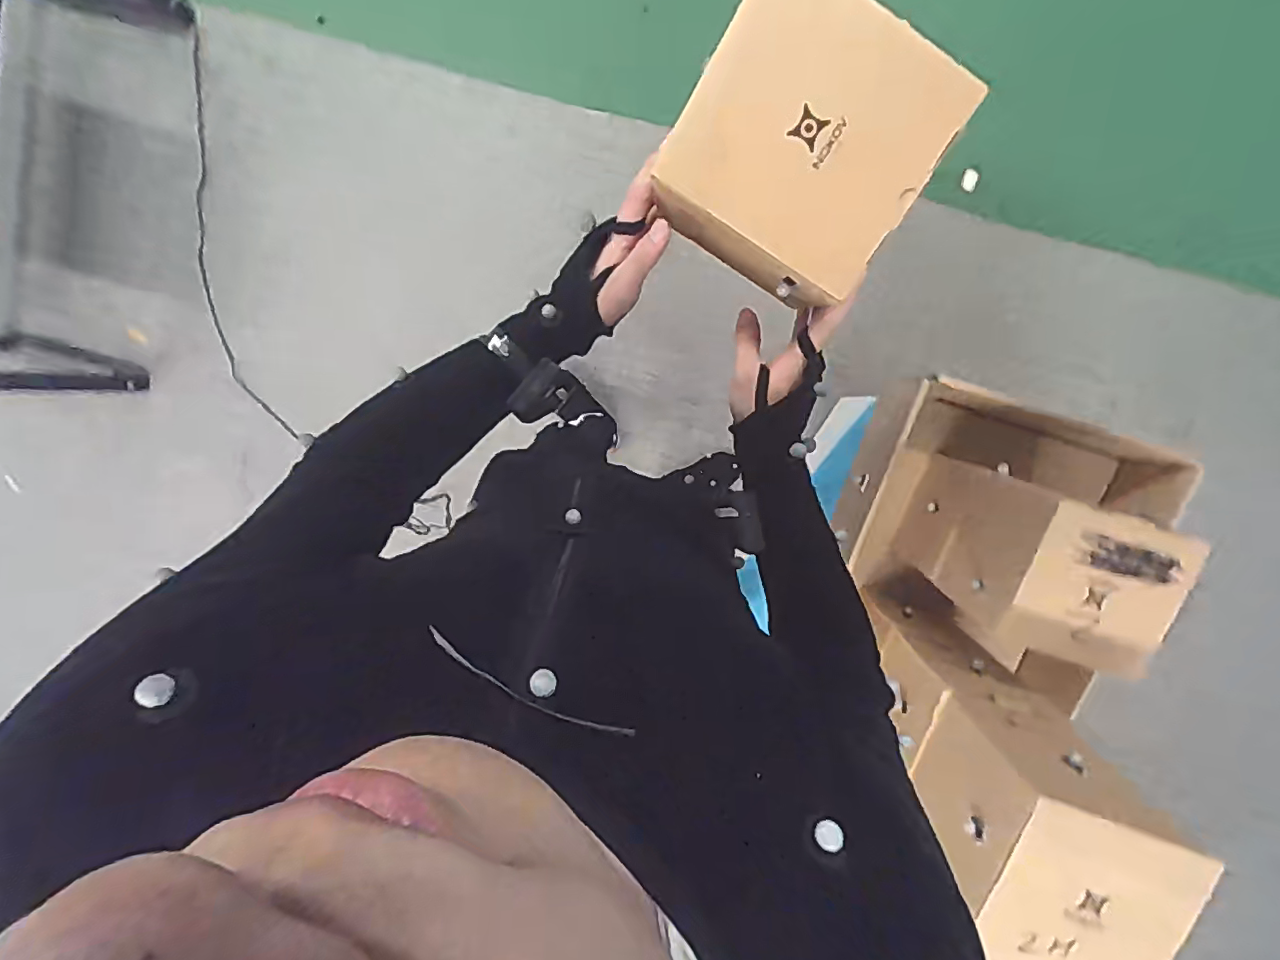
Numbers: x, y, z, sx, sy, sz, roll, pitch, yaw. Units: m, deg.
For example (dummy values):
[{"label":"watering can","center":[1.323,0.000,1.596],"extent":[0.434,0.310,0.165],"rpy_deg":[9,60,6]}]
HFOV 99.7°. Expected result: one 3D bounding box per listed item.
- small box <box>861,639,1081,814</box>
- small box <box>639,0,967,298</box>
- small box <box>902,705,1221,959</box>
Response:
[{"label":"small box","center":[0.418,0.339,0.721],"extent":[0.168,0.176,0.179],"rpy_deg":[18,98,5]},{"label":"small box","center":[0.116,-0.269,0.462],"extent":[0.179,0.176,0.168],"rpy_deg":[30,106,-6]},{"label":"small box","center":[0.403,0.370,0.559],"extent":[0.168,0.176,0.179],"rpy_deg":[20,100,4]}]
